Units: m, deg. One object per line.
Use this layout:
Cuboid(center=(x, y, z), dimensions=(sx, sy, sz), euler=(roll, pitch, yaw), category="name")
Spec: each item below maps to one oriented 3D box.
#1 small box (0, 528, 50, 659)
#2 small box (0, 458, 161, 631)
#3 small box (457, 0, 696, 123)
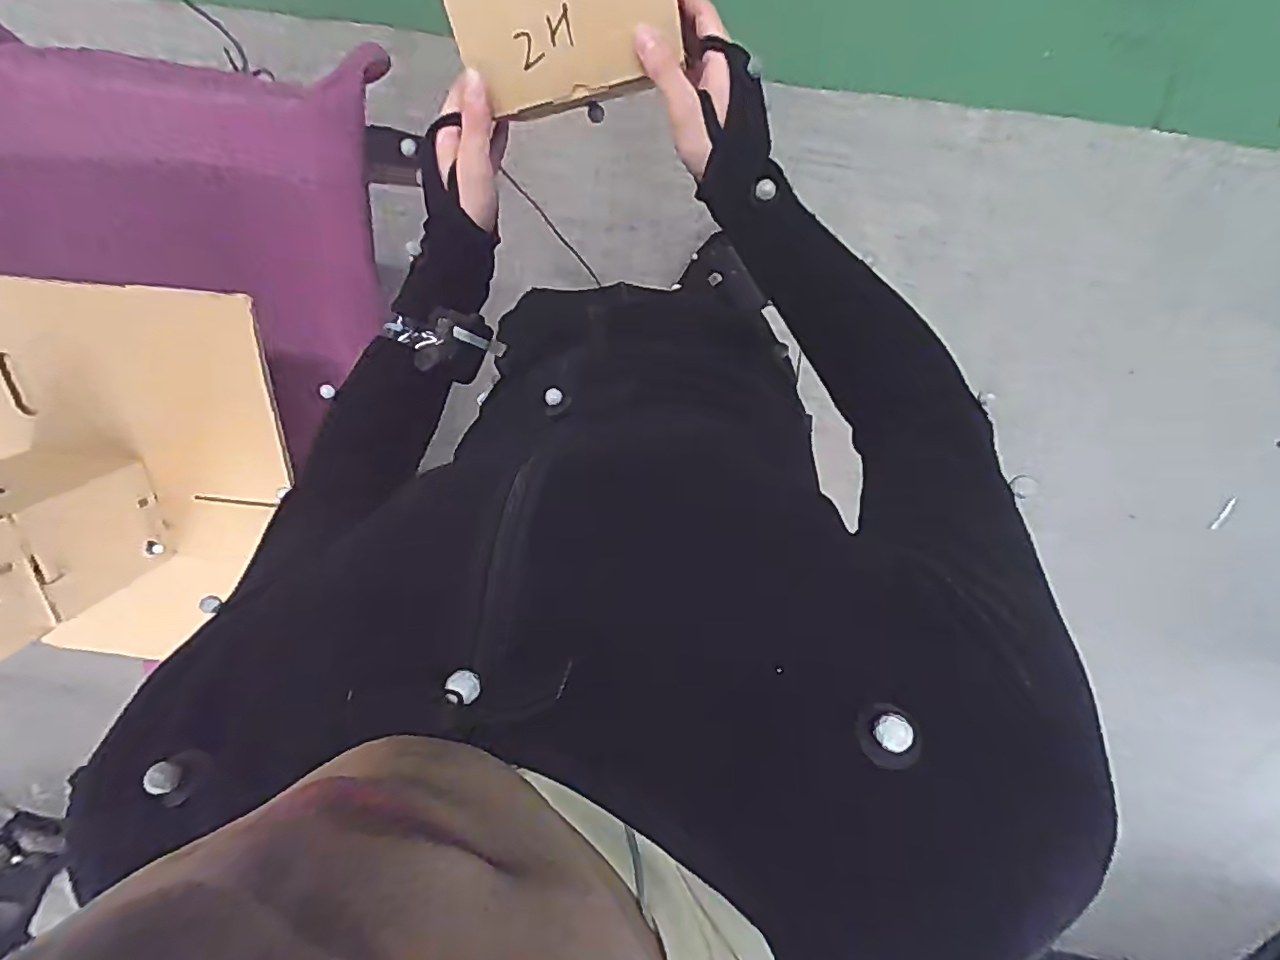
Cuboid(center=(-0.828, 0.145, 0.584), dimensions=(0.179, 0.176, 0.168), euler=(4, 113, 3), category="small box")
Cuboid(center=(-0.806, 0.078, 0.731), dimensions=(0.179, 0.176, 0.168), euler=(5, 114, 4), category="small box")
Cuboid(center=(-0.051, -0.406, 0.435), dimensions=(0.168, 0.176, 0.179), euler=(-8, 123, 7), category="small box")
